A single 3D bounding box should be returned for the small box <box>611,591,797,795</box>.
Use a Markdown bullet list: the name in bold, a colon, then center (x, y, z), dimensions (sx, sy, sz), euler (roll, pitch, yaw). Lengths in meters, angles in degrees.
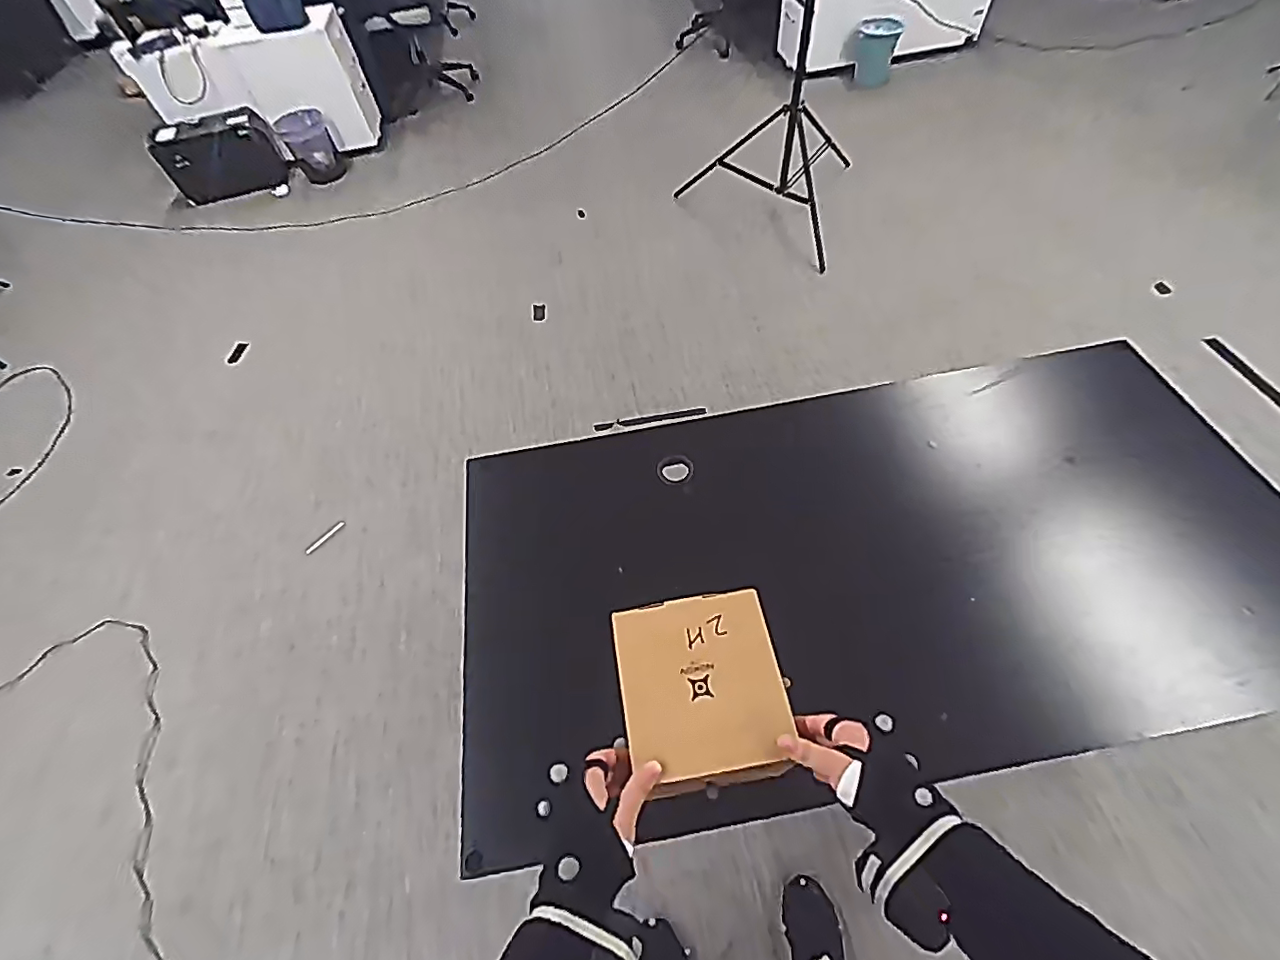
- **small box**: center (0.067, 0.252, 0.625), dimensions (0.168, 0.176, 0.179), euler (-10, 55, -1)
